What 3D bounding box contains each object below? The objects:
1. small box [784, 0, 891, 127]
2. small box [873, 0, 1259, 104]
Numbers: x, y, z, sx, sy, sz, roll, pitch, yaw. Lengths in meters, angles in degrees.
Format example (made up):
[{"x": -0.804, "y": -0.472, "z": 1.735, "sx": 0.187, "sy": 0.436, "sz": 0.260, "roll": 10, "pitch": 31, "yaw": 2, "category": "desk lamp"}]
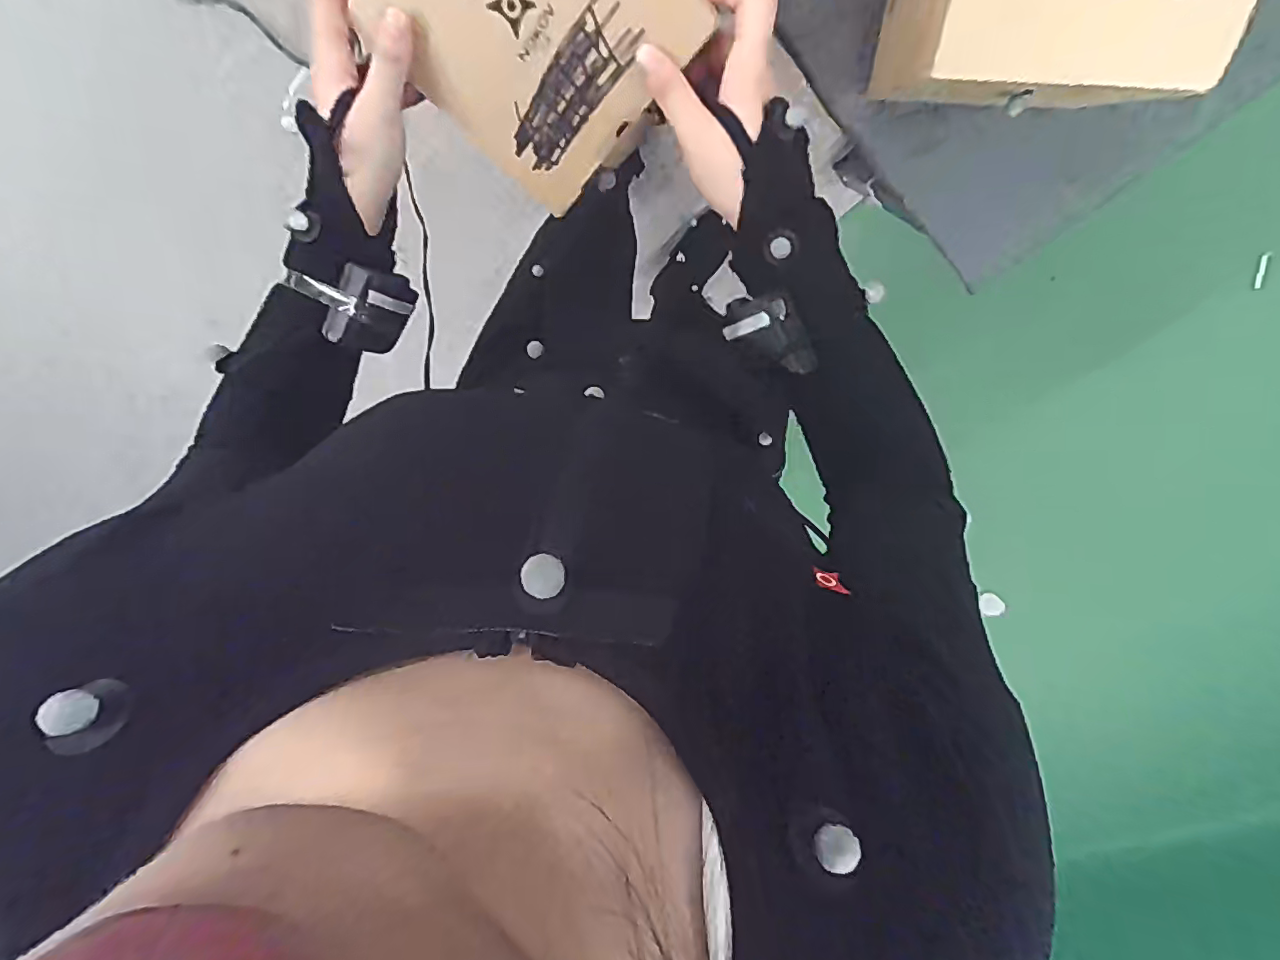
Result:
[{"x": 0.374, "y": -0.767, "z": 0.962, "sx": 0.168, "sy": 0.176, "sz": 0.179, "roll": -30, "pitch": 117, "yaw": 26, "category": "small box"}, {"x": 0.279, "y": -0.360, "z": 0.361, "sx": 0.179, "sy": 0.176, "sz": 0.168, "roll": 6, "pitch": 122, "yaw": 3, "category": "small box"}]
